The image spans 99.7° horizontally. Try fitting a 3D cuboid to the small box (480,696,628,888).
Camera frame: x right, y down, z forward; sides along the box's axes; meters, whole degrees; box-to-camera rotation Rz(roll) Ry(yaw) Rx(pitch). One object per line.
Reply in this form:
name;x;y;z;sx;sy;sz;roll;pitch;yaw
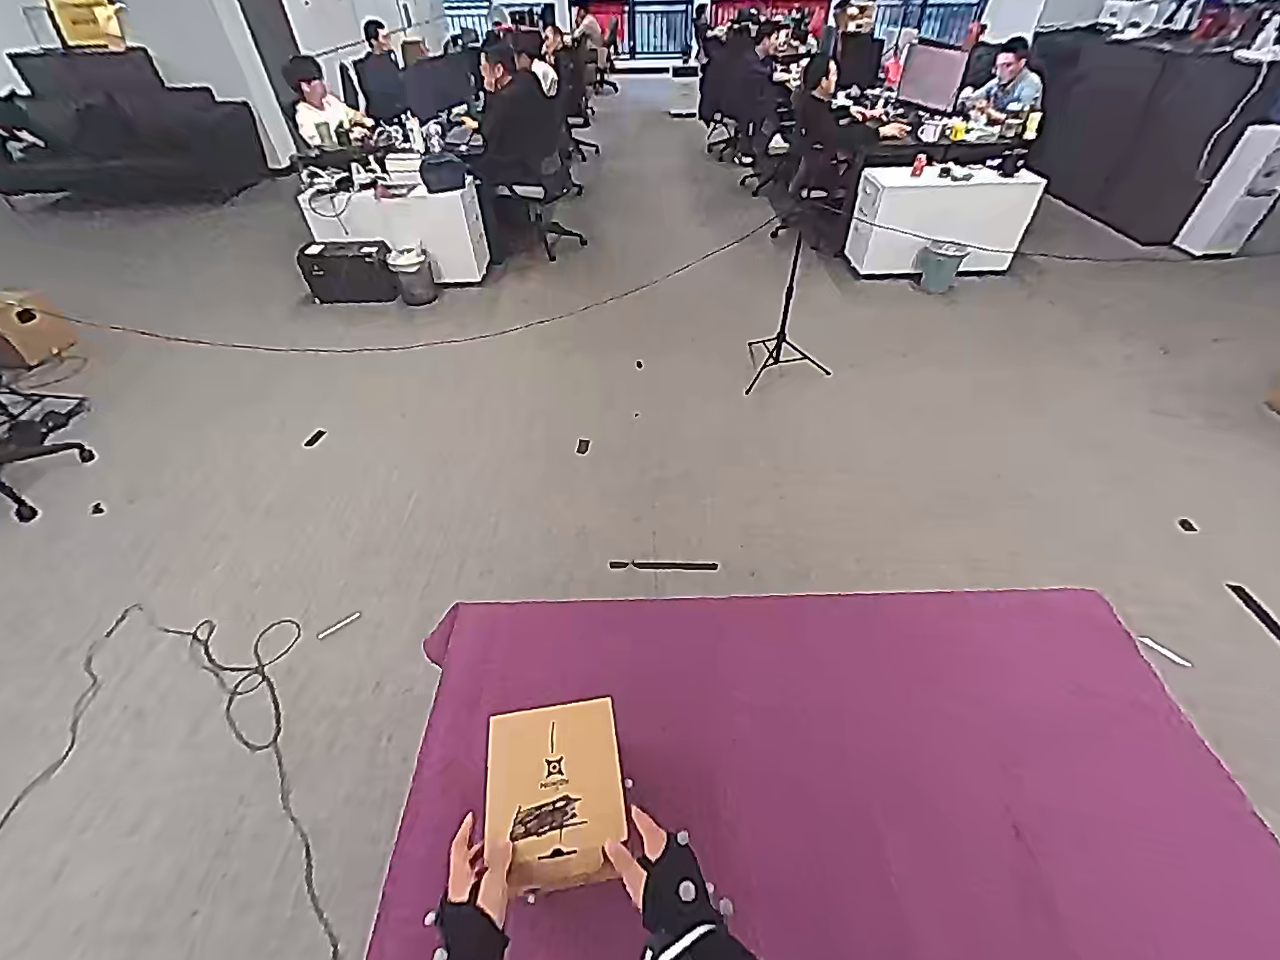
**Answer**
small box;-0.109;0.422;0.726;0.168;0.176;0.179;-6;43;-6
